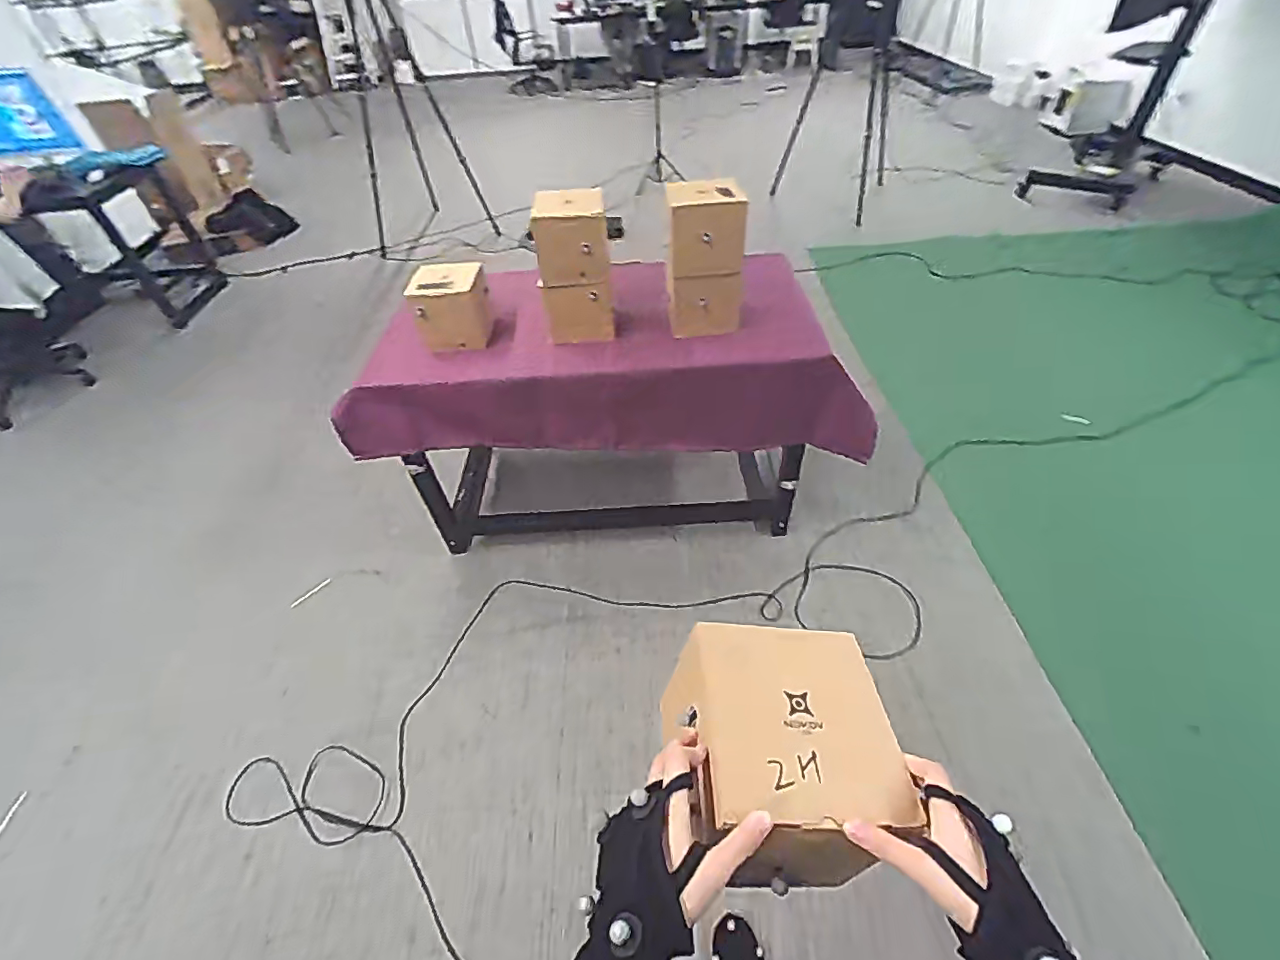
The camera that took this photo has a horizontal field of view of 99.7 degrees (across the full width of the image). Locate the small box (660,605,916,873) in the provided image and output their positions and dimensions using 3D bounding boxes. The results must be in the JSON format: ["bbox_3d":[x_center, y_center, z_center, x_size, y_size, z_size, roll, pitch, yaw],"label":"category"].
[{"bbox_3d":[0.118,0.248,0.521,0.168,0.176,0.179,6,39,-8],"label":"small box"}]

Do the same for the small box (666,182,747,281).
[{"bbox_3d":[0.156,-0.605,1.319,0.179,0.176,0.168,-5,45,1],"label":"small box"}]

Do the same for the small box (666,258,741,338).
[{"bbox_3d":[0.167,-0.491,1.438,0.179,0.176,0.168,-6,45,0],"label":"small box"}]

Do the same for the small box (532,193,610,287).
[{"bbox_3d":[-0.162,-0.589,1.341,0.168,0.176,0.179,-3,44,0],"label":"small box"}]

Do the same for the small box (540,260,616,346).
[{"bbox_3d":[-0.160,-0.475,1.456,0.179,0.176,0.168,-2,45,1],"label":"small box"}]
